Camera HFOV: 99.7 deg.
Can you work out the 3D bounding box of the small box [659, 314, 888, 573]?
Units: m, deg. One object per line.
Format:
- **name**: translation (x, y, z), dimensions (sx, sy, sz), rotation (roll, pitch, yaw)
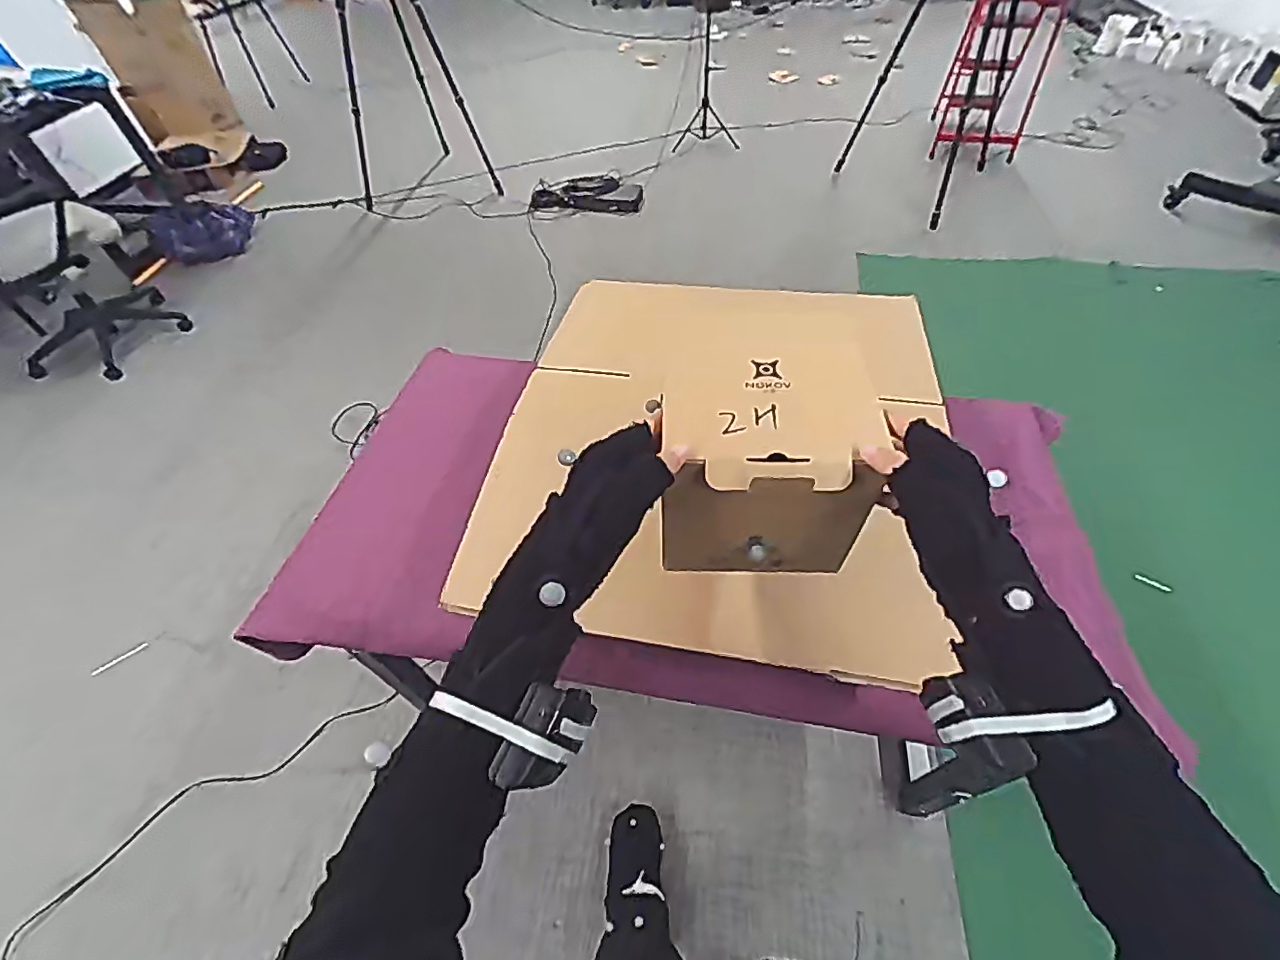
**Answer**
- **small box**: translation (0.102, -0.032, 0.500), dimensions (0.168, 0.176, 0.179), rotation (0, 54, 4)
